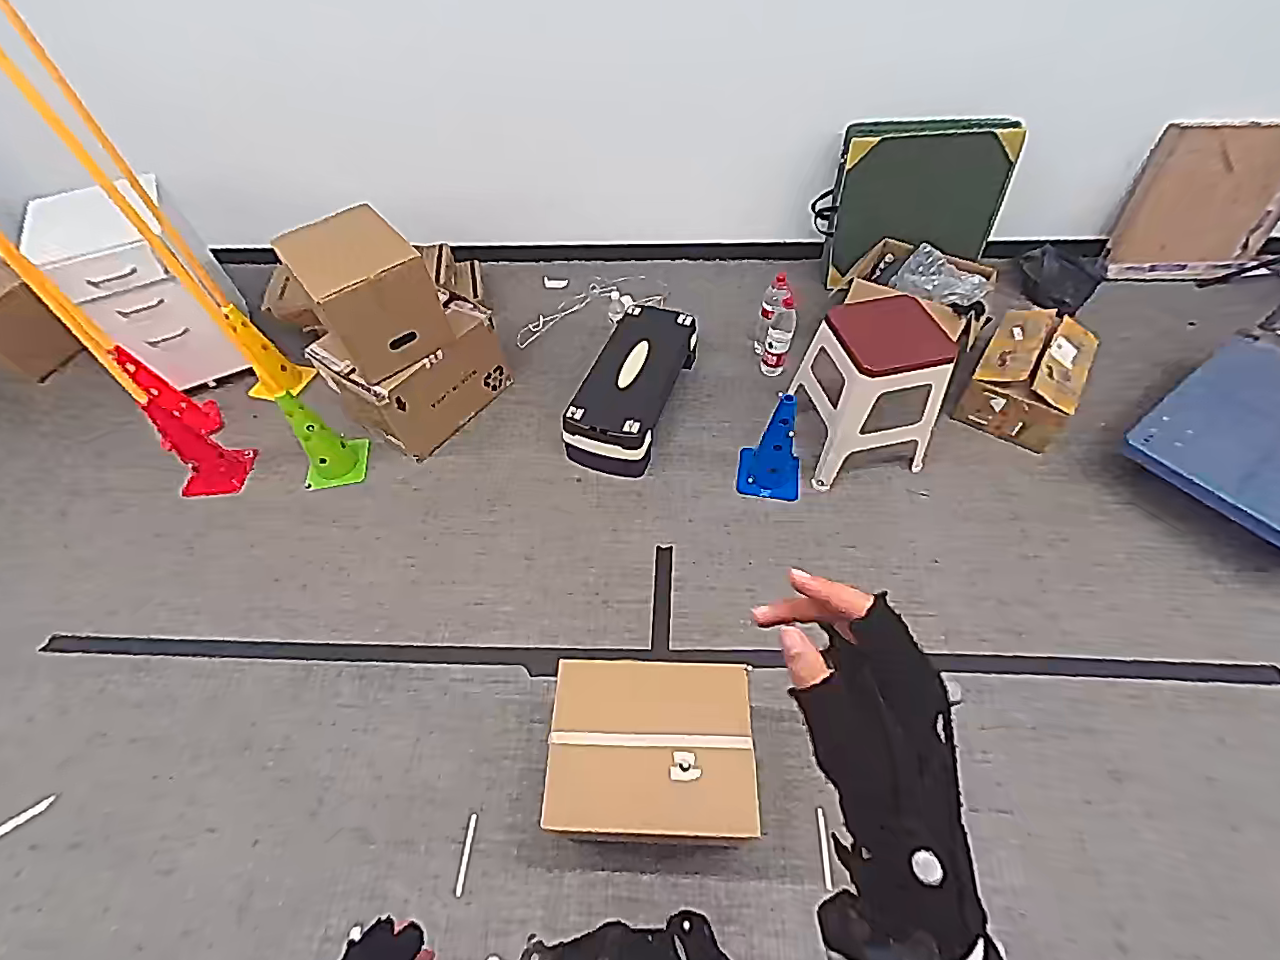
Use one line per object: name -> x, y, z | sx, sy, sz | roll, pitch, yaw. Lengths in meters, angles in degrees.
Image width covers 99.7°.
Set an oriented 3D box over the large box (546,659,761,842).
large box -> 0.026, 0.604, 1.194 | 0.408, 0.320, 0.320 | 1, 54, 2
